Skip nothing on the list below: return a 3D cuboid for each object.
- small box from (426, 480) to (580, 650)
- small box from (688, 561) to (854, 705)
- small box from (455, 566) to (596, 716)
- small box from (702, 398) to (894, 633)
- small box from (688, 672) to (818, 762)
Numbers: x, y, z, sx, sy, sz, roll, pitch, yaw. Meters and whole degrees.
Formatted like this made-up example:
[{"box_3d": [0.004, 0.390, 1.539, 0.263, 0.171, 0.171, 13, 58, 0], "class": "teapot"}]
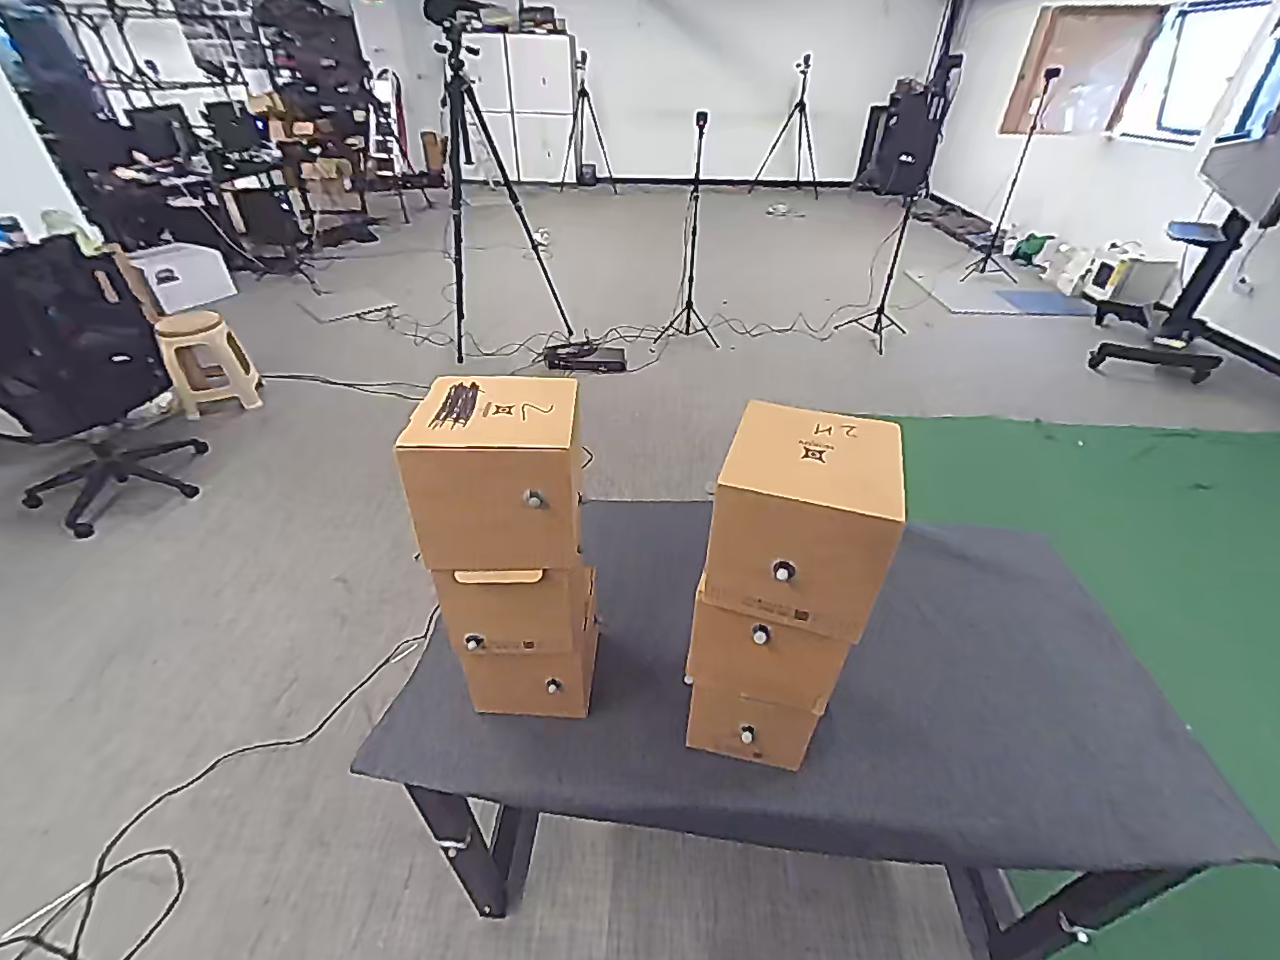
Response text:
[{"box_3d": [-0.173, 0.118, 0.748, 0.168, 0.176, 0.179, 0, 35, -2], "class": "small box"}, {"box_3d": [0.166, 0.159, 0.695, 0.179, 0.176, 0.168, 10, 38, 15], "class": "small box"}, {"box_3d": [-0.164, 0.250, 0.847, 0.179, 0.176, 0.168, 1, 35, 2], "class": "small box"}, {"box_3d": [0.166, 0.035, 0.585, 0.168, 0.176, 0.179, 12, 38, 16], "class": "small box"}, {"box_3d": [0.164, 0.284, 0.800, 0.168, 0.176, 0.179, 7, 38, 10], "class": "small box"}]
